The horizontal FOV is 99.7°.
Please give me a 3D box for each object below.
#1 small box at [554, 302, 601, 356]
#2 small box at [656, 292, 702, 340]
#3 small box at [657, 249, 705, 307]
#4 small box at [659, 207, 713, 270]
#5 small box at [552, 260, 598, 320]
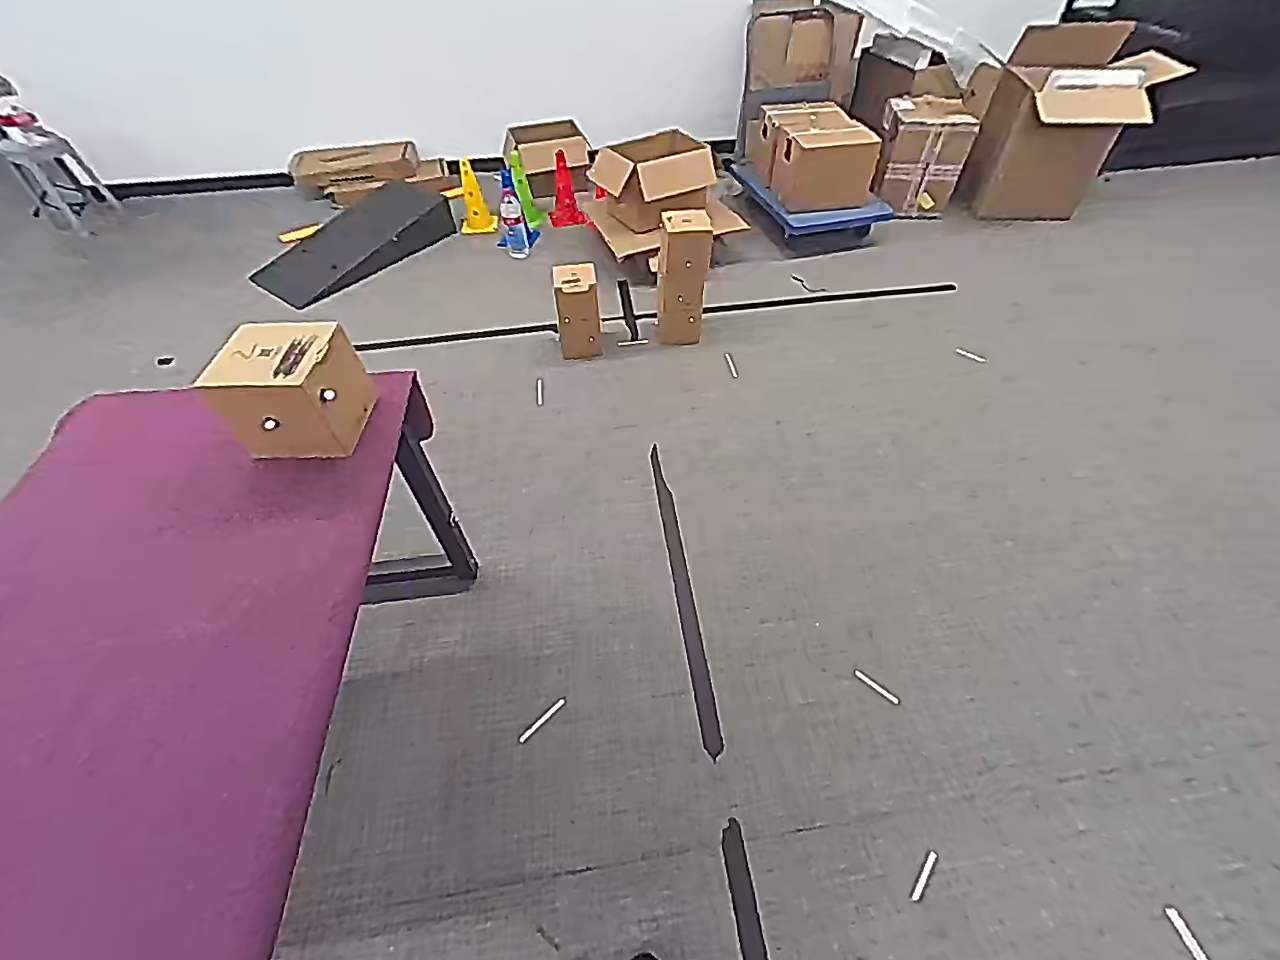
[{"bbox_3d":[-0.263,-0.649,2.293,0.179,0.176,0.168,-9,50,-5],"label":"small box"},{"bbox_3d":[0.165,-0.722,2.345,0.179,0.176,0.168,-3,50,-2],"label":"small box"},{"bbox_3d":[0.162,-0.836,2.229,0.168,0.176,0.179,-6,51,-5],"label":"small box"},{"bbox_3d":[0.173,-0.935,2.098,0.179,0.176,0.168,-4,51,-5],"label":"small box"},{"bbox_3d":[-0.259,-0.755,2.167,0.168,0.176,0.179,-6,49,-4],"label":"small box"}]
